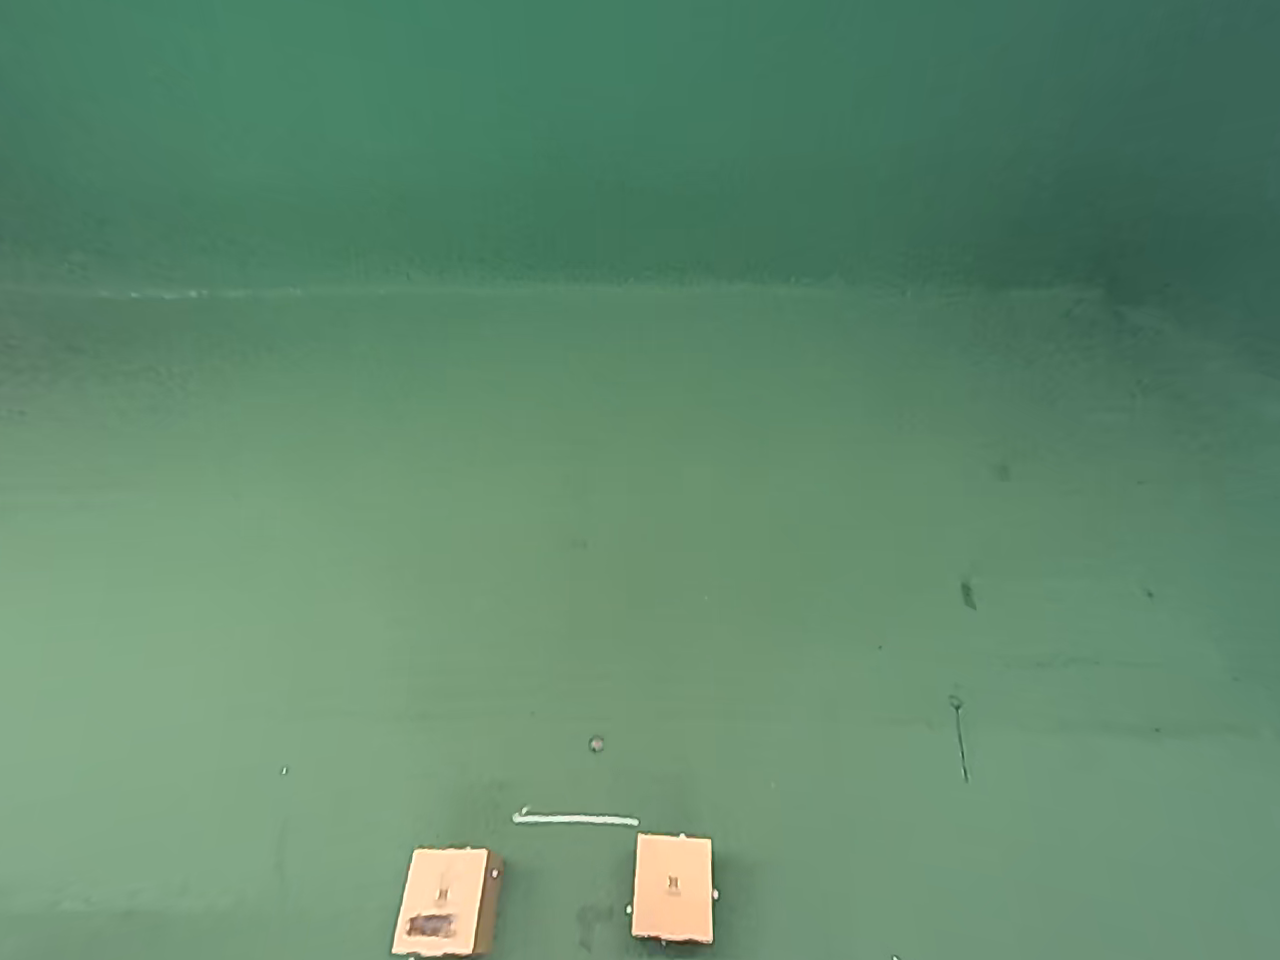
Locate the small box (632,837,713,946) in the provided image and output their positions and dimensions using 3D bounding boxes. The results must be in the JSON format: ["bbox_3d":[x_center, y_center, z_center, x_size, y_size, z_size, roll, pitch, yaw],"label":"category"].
[{"bbox_3d":[0.071,0.913,1.200,0.168,0.176,0.179,3,51,2],"label":"small box"}]
